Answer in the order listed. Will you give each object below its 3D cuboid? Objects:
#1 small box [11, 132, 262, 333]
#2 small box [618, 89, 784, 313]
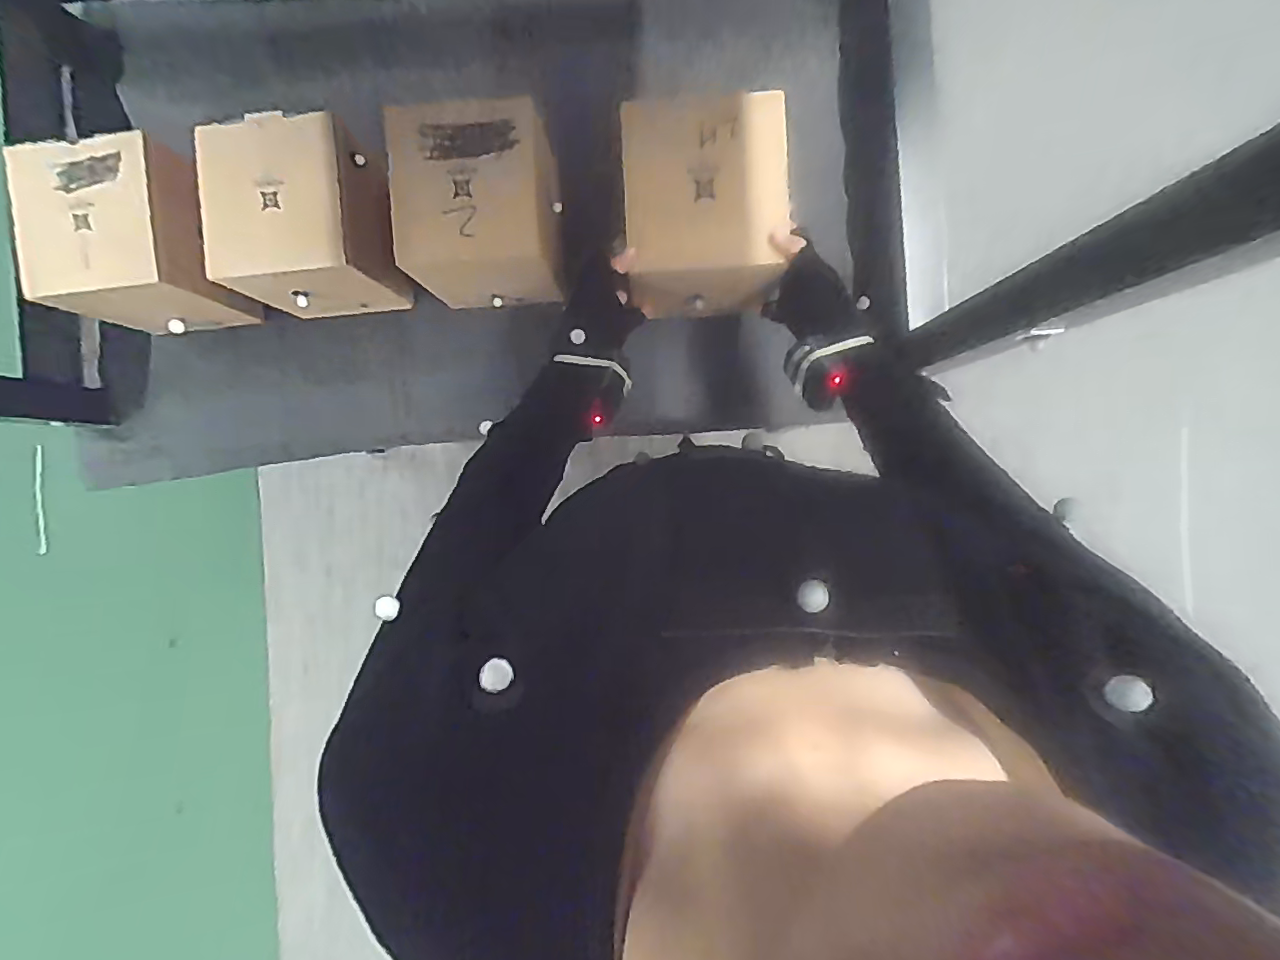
[{"bbox_3d":[-0.628,-0.304,0.697,0.168,0.176,0.179,-5,91,3],"label":"small box"},{"bbox_3d":[0.066,-0.299,0.620,0.168,0.176,0.179,-2,90,3],"label":"small box"}]
